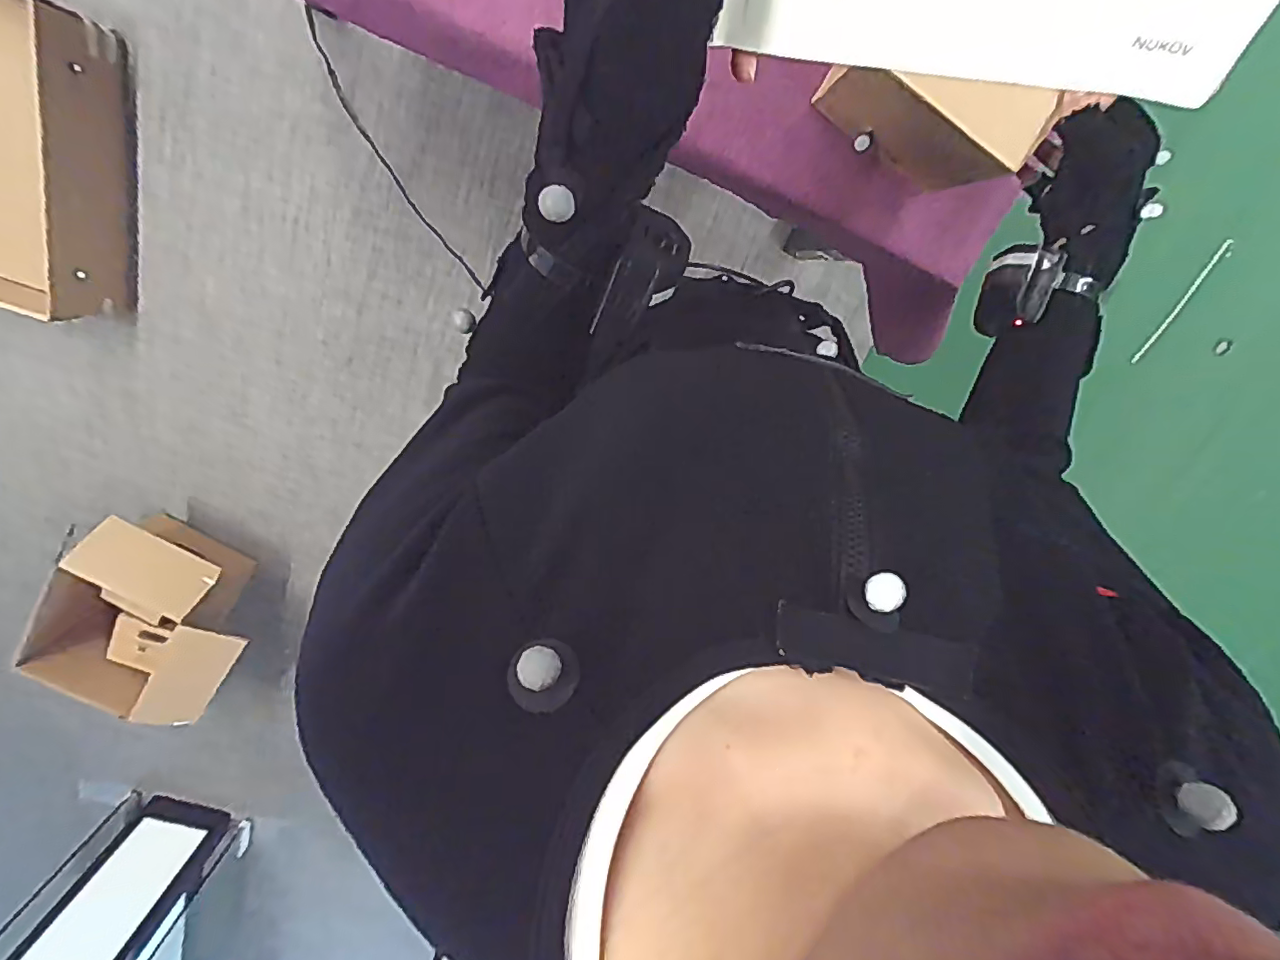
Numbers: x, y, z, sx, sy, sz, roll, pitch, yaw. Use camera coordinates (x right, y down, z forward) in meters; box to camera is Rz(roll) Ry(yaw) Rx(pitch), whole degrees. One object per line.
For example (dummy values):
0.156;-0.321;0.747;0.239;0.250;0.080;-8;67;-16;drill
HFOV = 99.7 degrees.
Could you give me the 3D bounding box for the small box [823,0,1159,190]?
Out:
0.294;-0.392;0.481;0.168;0.176;0.179;30;110;-11;small box
